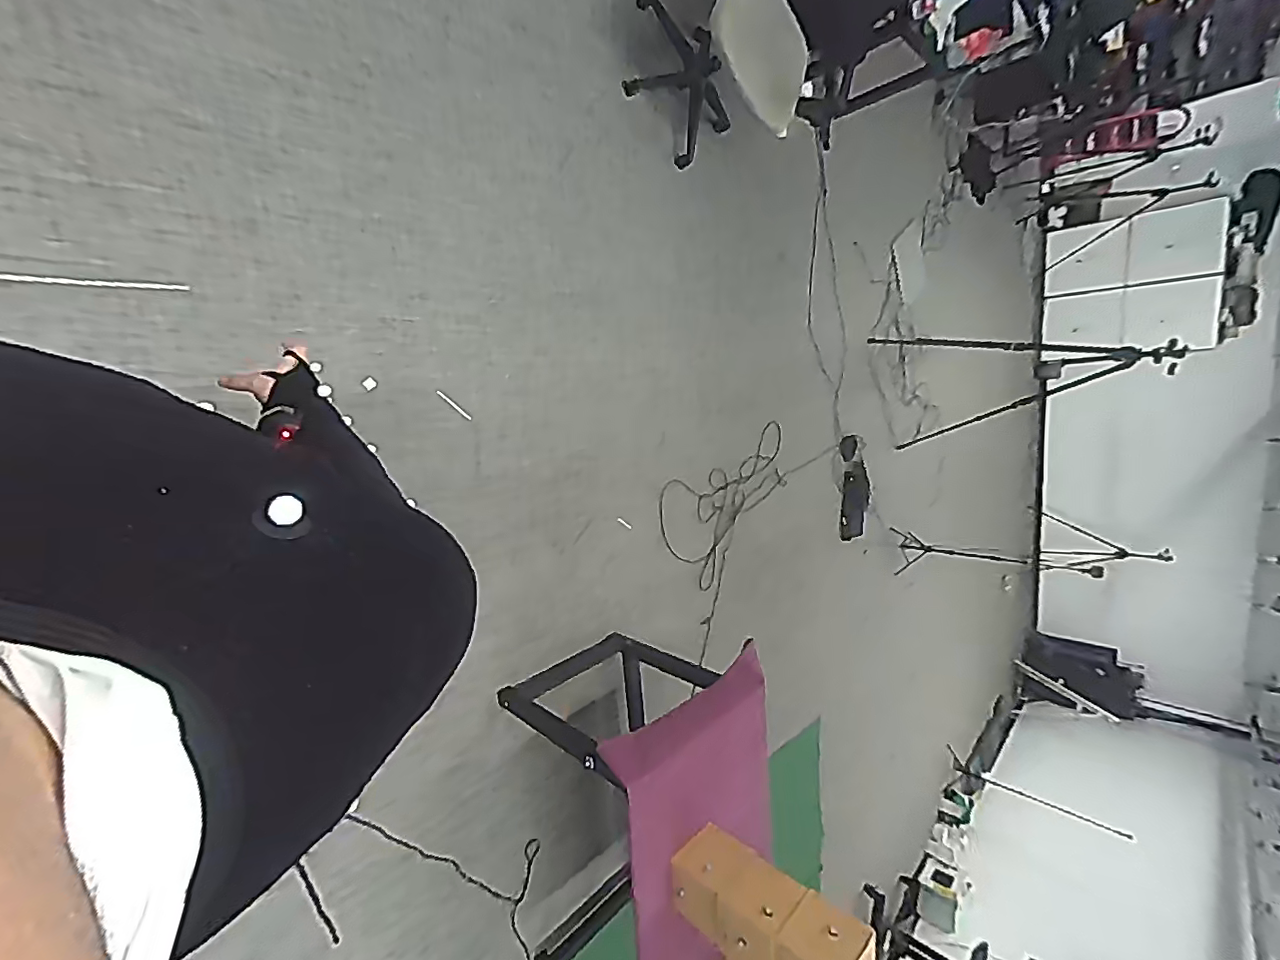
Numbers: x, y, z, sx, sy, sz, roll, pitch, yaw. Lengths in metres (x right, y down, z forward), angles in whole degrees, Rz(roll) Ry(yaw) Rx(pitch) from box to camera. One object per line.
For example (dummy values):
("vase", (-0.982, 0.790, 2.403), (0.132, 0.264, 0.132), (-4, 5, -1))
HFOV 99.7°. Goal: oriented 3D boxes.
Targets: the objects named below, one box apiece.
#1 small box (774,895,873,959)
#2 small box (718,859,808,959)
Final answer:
("small box", (0.434, 1.149, 1.280), (0.179, 0.176, 0.168), (-13, 103, -43))
("small box", (0.314, 1.139, 1.391), (0.179, 0.176, 0.168), (-11, 102, -43))
